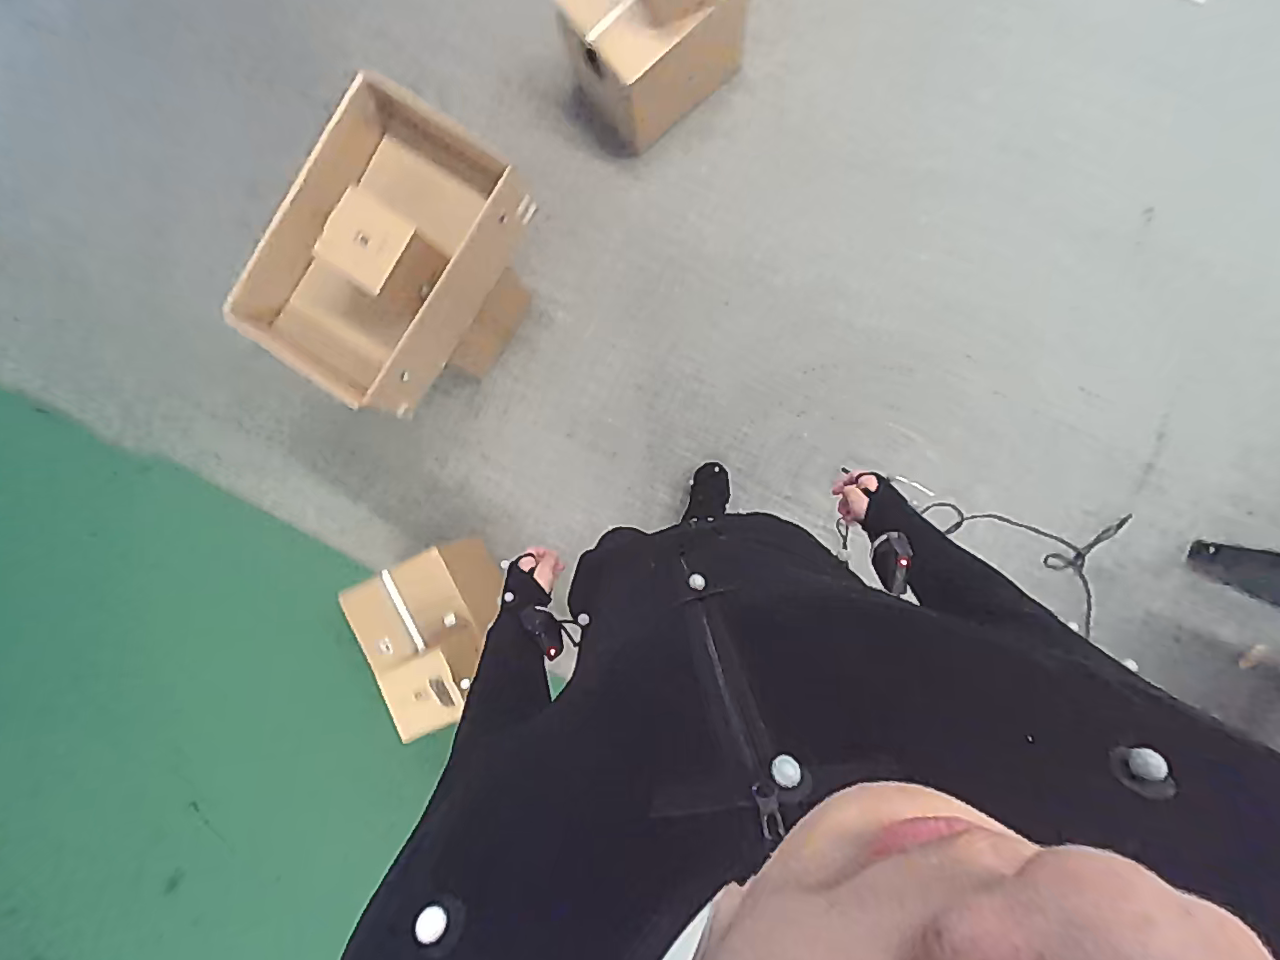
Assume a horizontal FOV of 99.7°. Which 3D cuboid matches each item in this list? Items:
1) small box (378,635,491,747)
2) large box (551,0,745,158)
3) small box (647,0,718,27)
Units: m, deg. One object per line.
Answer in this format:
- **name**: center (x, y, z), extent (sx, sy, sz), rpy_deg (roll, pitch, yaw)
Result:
- **small box**: center (-0.478, 0.494, 1.292), extent (0.179, 0.176, 0.168), rpy_deg (-25, 87, 5)
- **large box**: center (0.034, -1.210, 1.483), extent (0.408, 0.320, 0.320), rpy_deg (-41, 86, 5)
- **small box**: center (0.082, -1.204, 1.232), extent (0.168, 0.176, 0.179), rpy_deg (-20, 90, 5)
